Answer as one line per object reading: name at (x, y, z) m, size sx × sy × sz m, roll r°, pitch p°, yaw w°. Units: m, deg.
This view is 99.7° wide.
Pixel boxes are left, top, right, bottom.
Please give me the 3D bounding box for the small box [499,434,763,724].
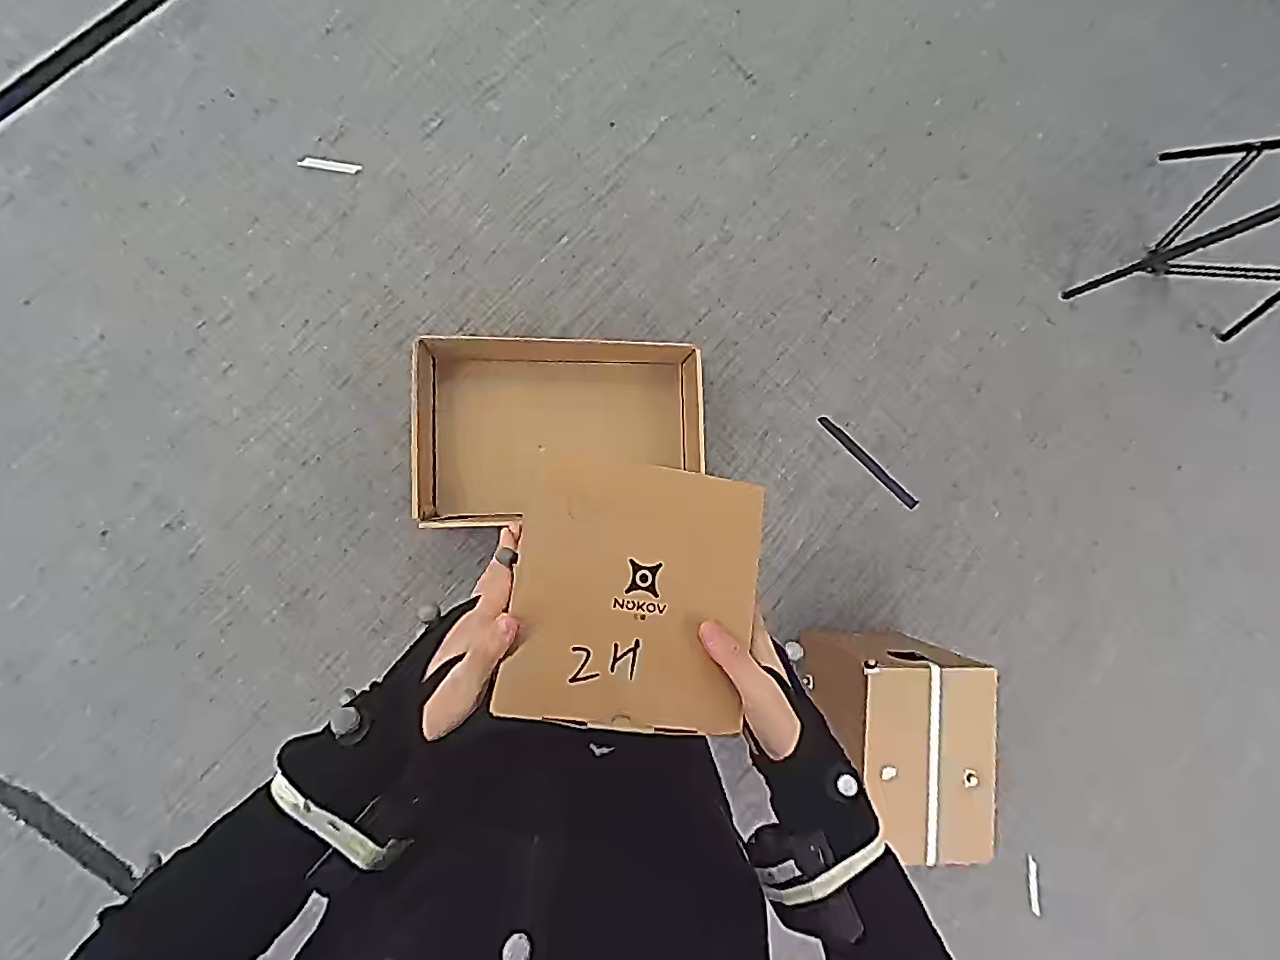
small box at (-0.017, 0.080, 0.441) m, size 0.168 × 0.176 × 0.179 m, roll 10°, pitch 78°, yaw -11°
